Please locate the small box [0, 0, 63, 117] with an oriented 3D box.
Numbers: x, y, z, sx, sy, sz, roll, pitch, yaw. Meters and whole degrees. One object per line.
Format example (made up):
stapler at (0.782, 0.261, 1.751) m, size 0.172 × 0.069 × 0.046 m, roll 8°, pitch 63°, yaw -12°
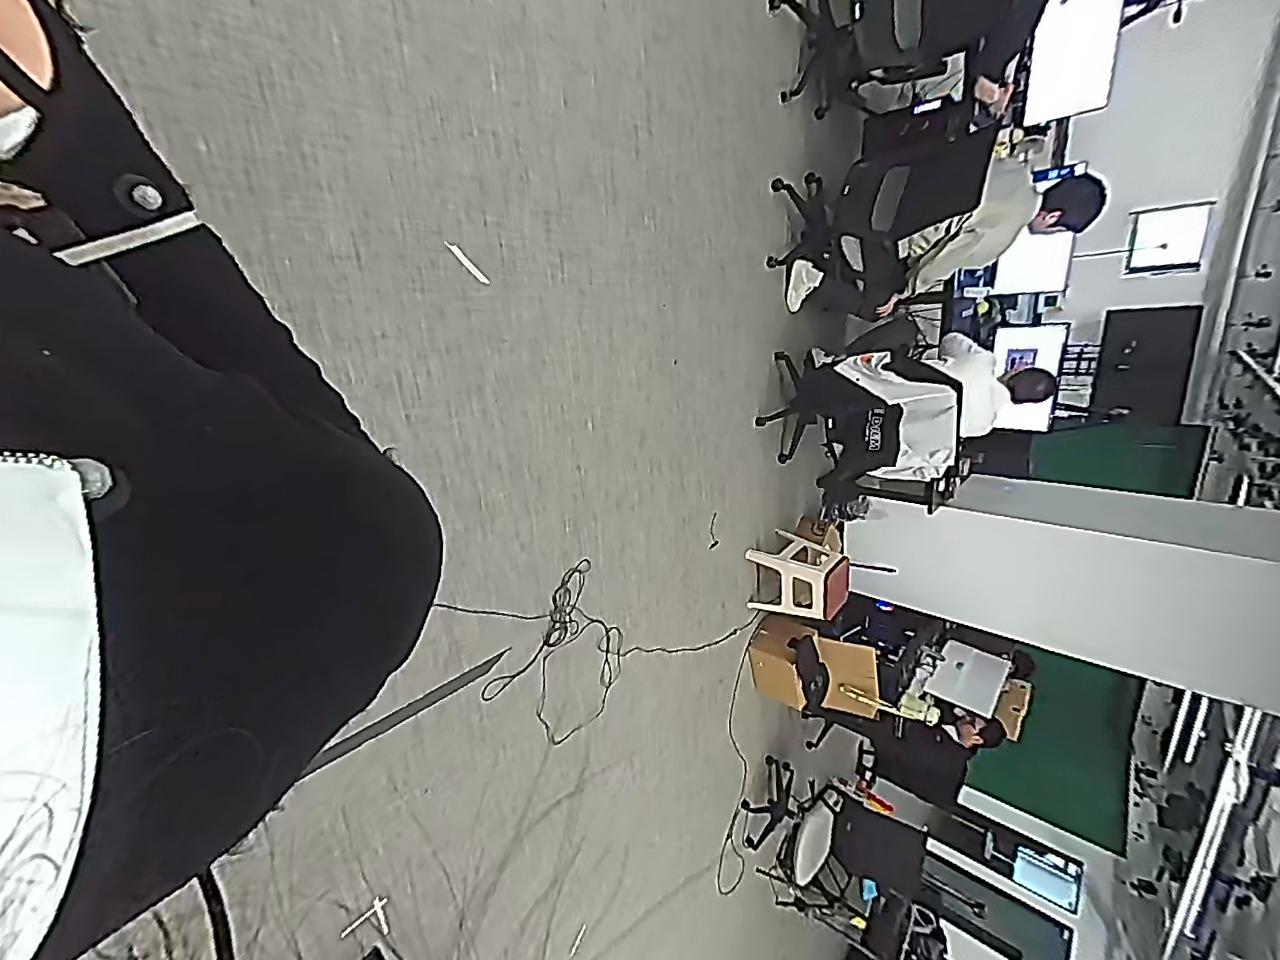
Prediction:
small box at (-0.626, -0.435, 0.443) m, size 0.168 × 0.176 × 0.179 m, roll -22°, pitch 115°, yaw -47°
